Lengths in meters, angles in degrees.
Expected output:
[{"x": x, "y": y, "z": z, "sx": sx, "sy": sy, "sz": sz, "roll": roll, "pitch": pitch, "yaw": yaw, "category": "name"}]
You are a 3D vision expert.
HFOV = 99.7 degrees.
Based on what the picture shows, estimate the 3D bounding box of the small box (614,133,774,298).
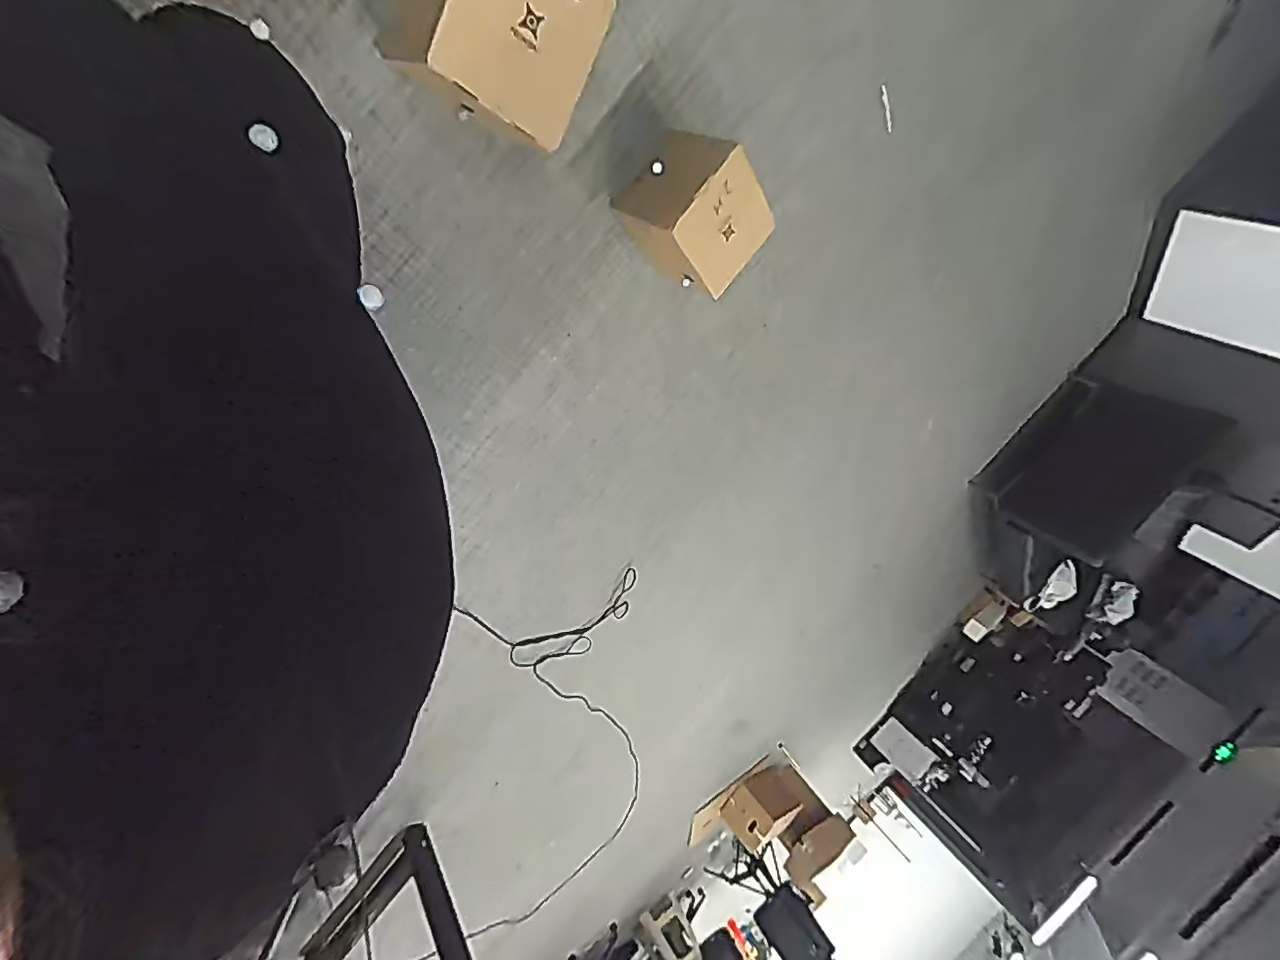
[{"x": 0.091, "y": -0.449, "z": 0.916, "sx": 0.168, "sy": 0.176, "sz": 0.179, "roll": -51, "pitch": 142, "yaw": 4, "category": "small box"}]

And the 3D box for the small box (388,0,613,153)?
[{"x": -0.169, "y": -0.521, "z": 0.623, "sx": 0.168, "sy": 0.176, "sz": 0.179, "roll": 11, "pitch": 115, "yaw": -47, "category": "small box"}]
